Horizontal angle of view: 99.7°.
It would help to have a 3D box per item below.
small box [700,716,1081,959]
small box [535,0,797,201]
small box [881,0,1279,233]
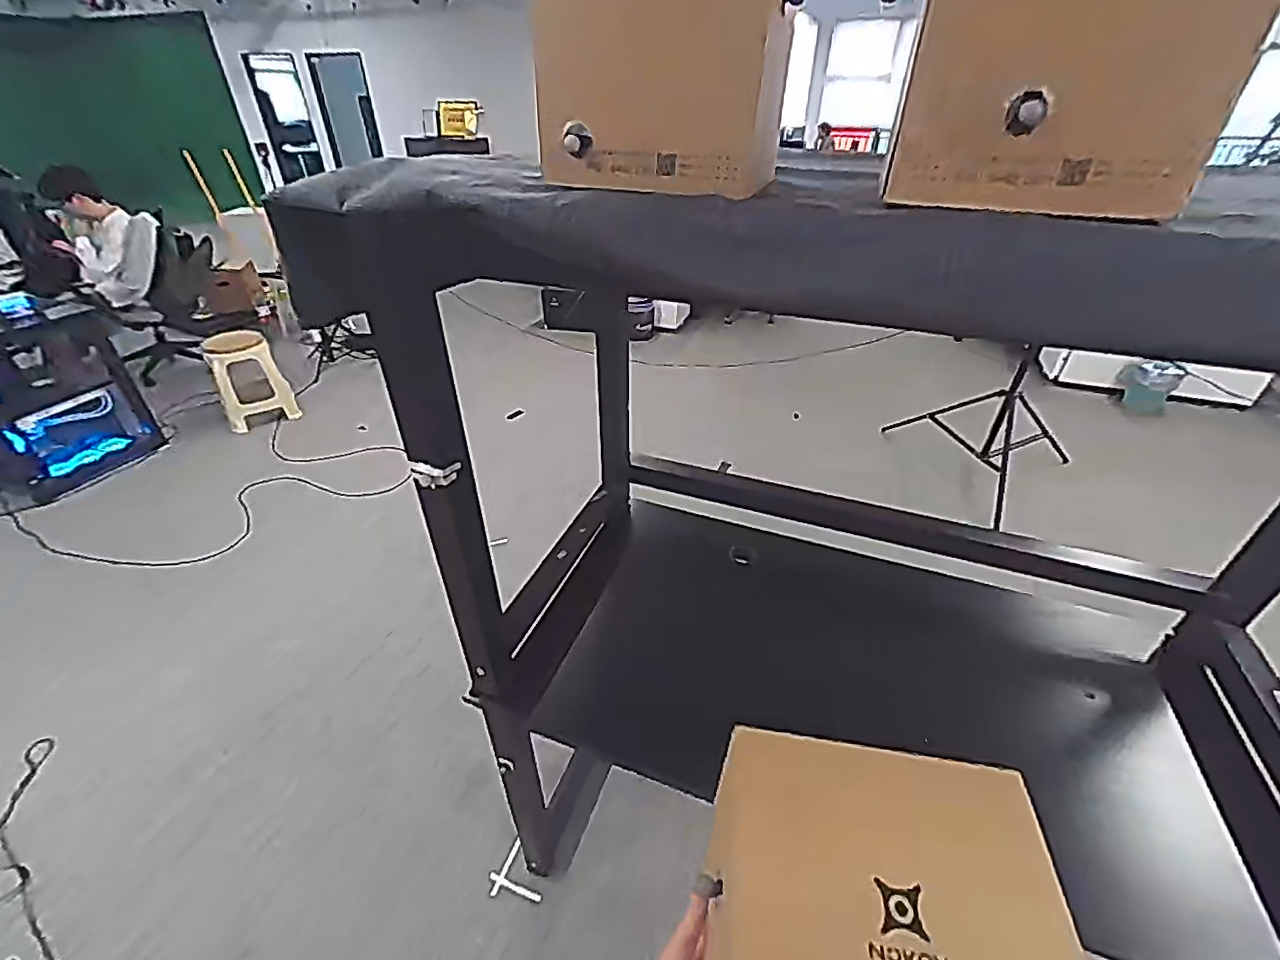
[{"bbox_3d":[0.123,0.271,0.314,0.168,0.176,0.179,6,42,7],"label":"small box"},{"bbox_3d":[0.028,-0.328,0.435,0.168,0.176,0.179,12,34,14],"label":"small box"},{"bbox_3d":[0.270,-0.276,0.366,0.168,0.176,0.179,12,35,16],"label":"small box"}]
